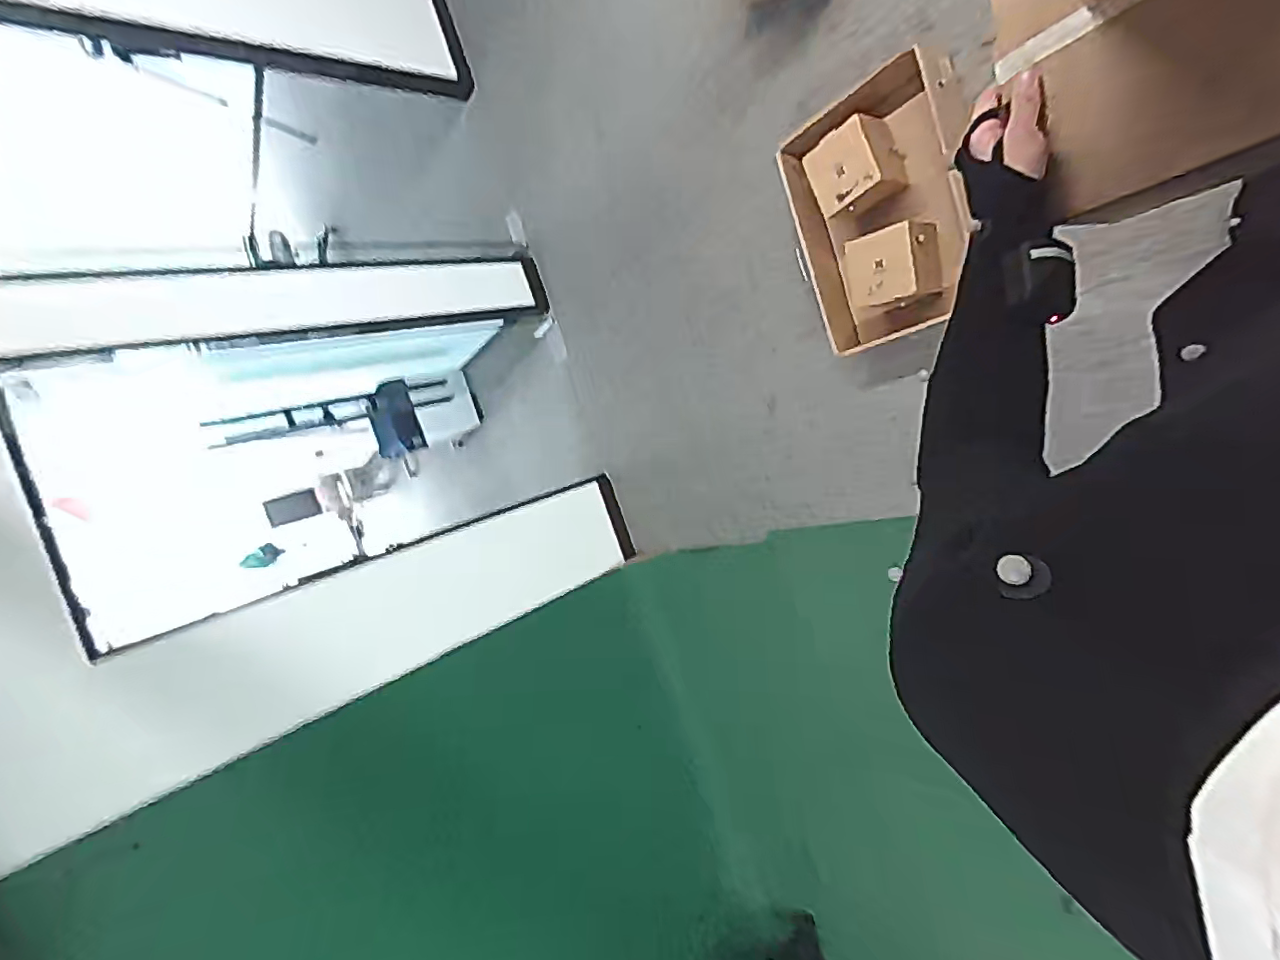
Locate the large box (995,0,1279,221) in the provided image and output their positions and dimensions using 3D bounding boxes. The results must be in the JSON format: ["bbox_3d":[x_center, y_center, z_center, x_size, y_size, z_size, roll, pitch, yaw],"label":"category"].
[{"bbox_3d":[0.578,-0.461,0.449,0.408,0.320,0.320,-10,100,51],"label":"large box"}]

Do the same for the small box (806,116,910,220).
[{"bbox_3d":[0.574,-0.807,1.421,0.168,0.176,0.179,-22,89,53],"label":"small box"}]
